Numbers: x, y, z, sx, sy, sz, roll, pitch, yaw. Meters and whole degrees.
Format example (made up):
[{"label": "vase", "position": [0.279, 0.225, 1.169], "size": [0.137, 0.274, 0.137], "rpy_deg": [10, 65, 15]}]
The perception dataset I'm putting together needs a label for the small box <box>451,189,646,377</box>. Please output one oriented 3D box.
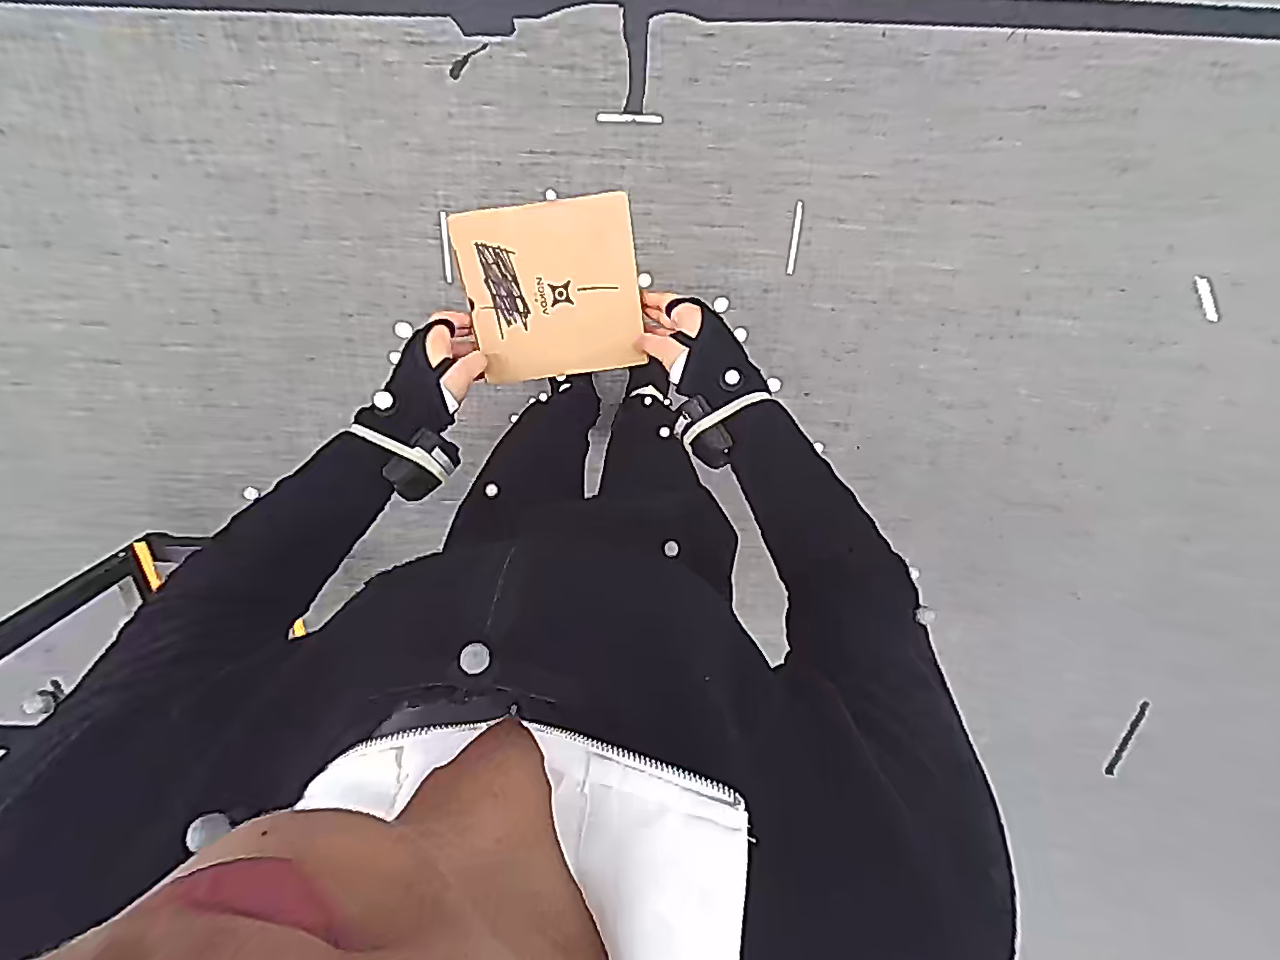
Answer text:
[{"label": "small box", "position": [-0.089, -0.223, 0.615], "size": [0.179, 0.176, 0.168], "rpy_deg": [-7, 114, 0]}]
